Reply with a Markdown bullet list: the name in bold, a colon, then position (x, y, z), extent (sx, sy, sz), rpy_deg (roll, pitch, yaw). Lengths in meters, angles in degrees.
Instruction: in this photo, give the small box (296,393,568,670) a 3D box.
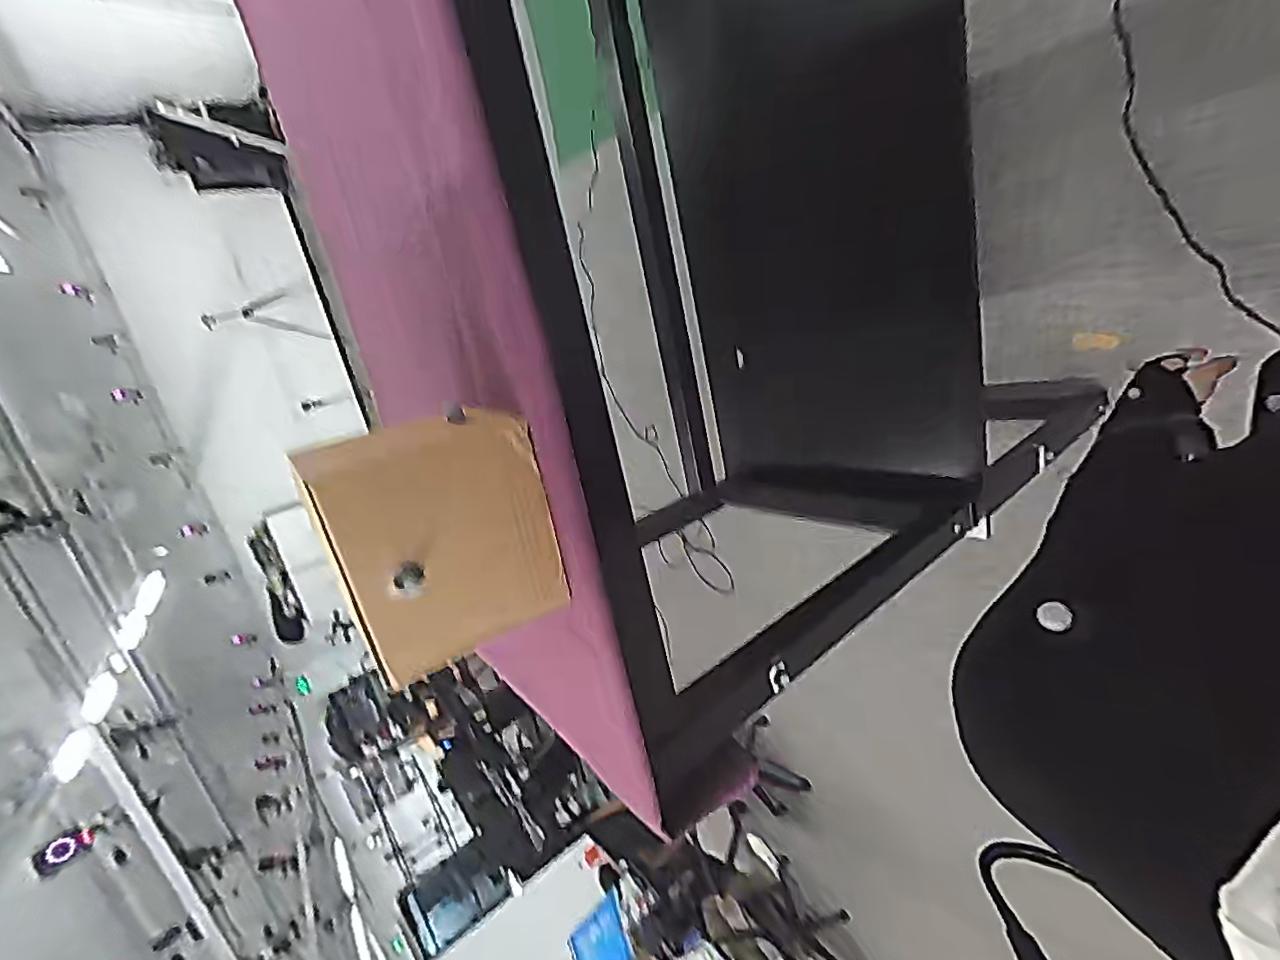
- **small box**: position (-0.182, 0.028, 0.490), extent (0.168, 0.176, 0.179), rpy_deg (15, 120, 52)
